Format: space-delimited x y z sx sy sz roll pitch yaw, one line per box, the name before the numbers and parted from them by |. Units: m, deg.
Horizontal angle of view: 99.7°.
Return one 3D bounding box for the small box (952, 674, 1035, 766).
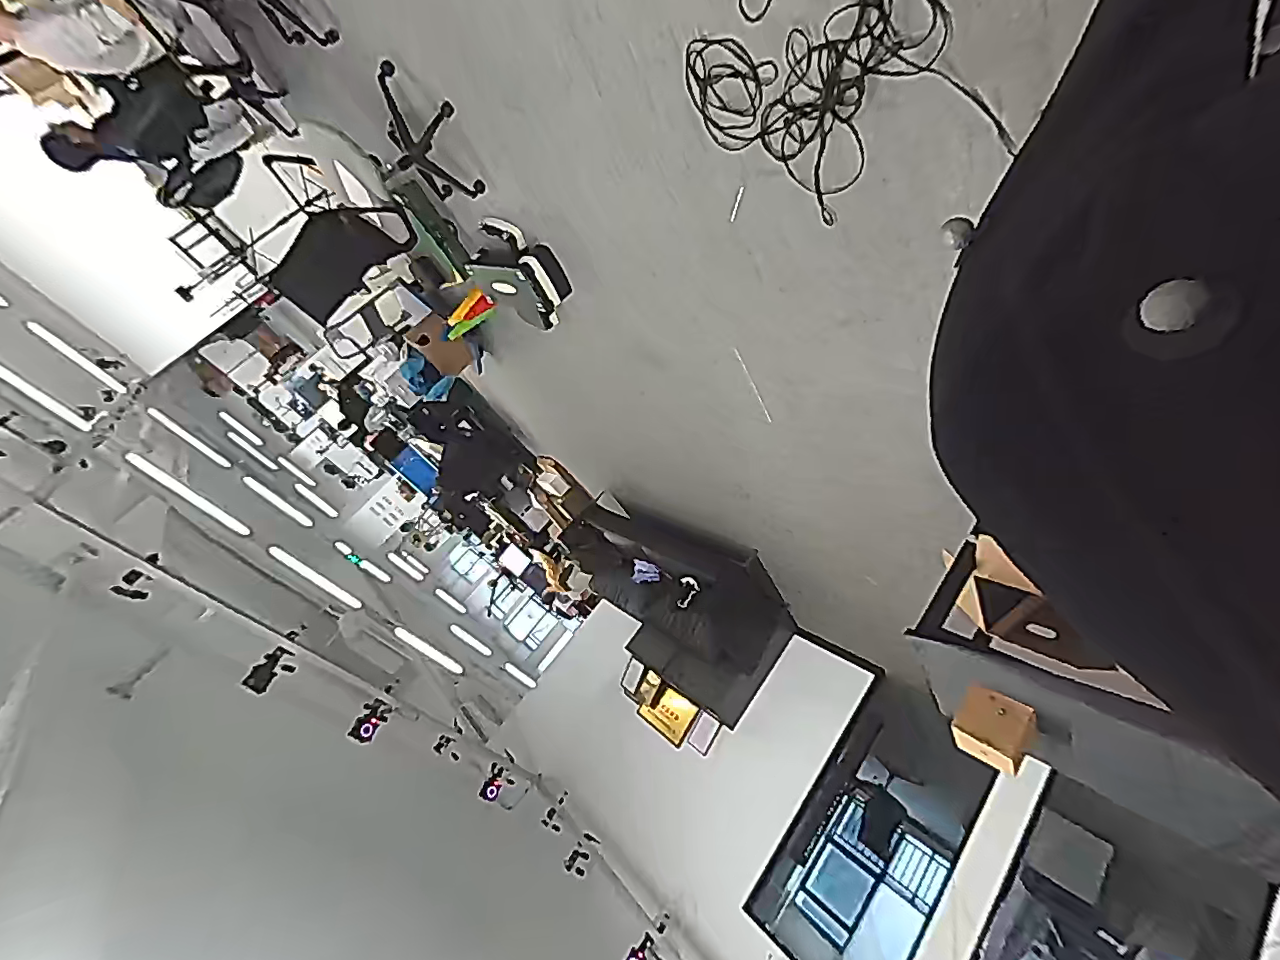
small box | 1.092 0.734 1.664 0.168 0.176 0.179 19 153 48
